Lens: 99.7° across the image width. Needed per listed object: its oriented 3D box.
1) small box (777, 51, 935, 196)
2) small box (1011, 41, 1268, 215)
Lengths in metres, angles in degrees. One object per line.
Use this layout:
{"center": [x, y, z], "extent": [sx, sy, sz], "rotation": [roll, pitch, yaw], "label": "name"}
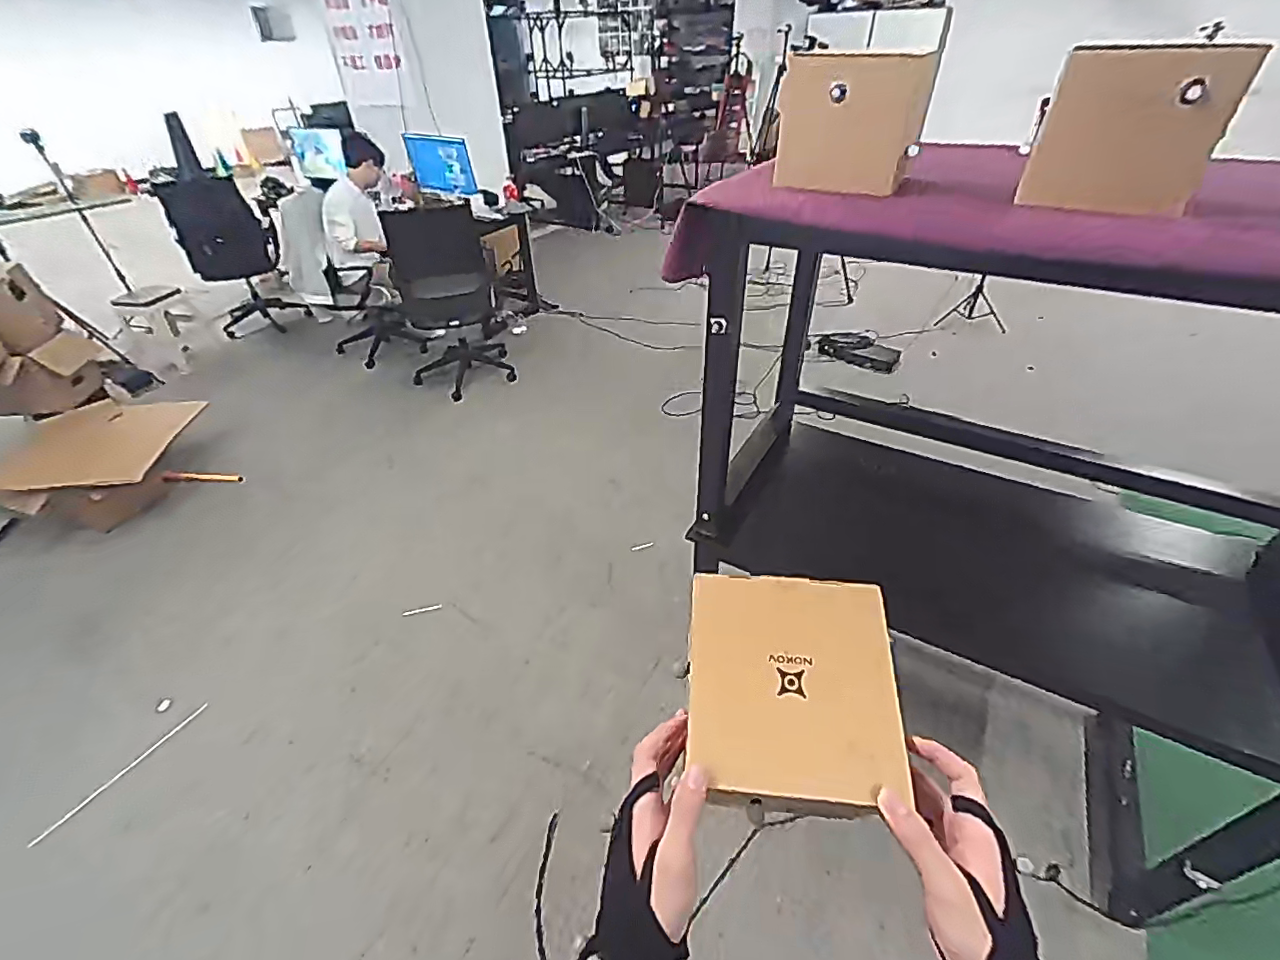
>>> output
{"center": [0.319, -0.538, 0.817], "extent": [0.179, 0.176, 0.168], "rotation": [18, 43, 22], "label": "small box"}
{"center": [0.609, -0.445, 0.685], "extent": [0.179, 0.176, 0.168], "rotation": [20, 43, 26], "label": "small box"}
